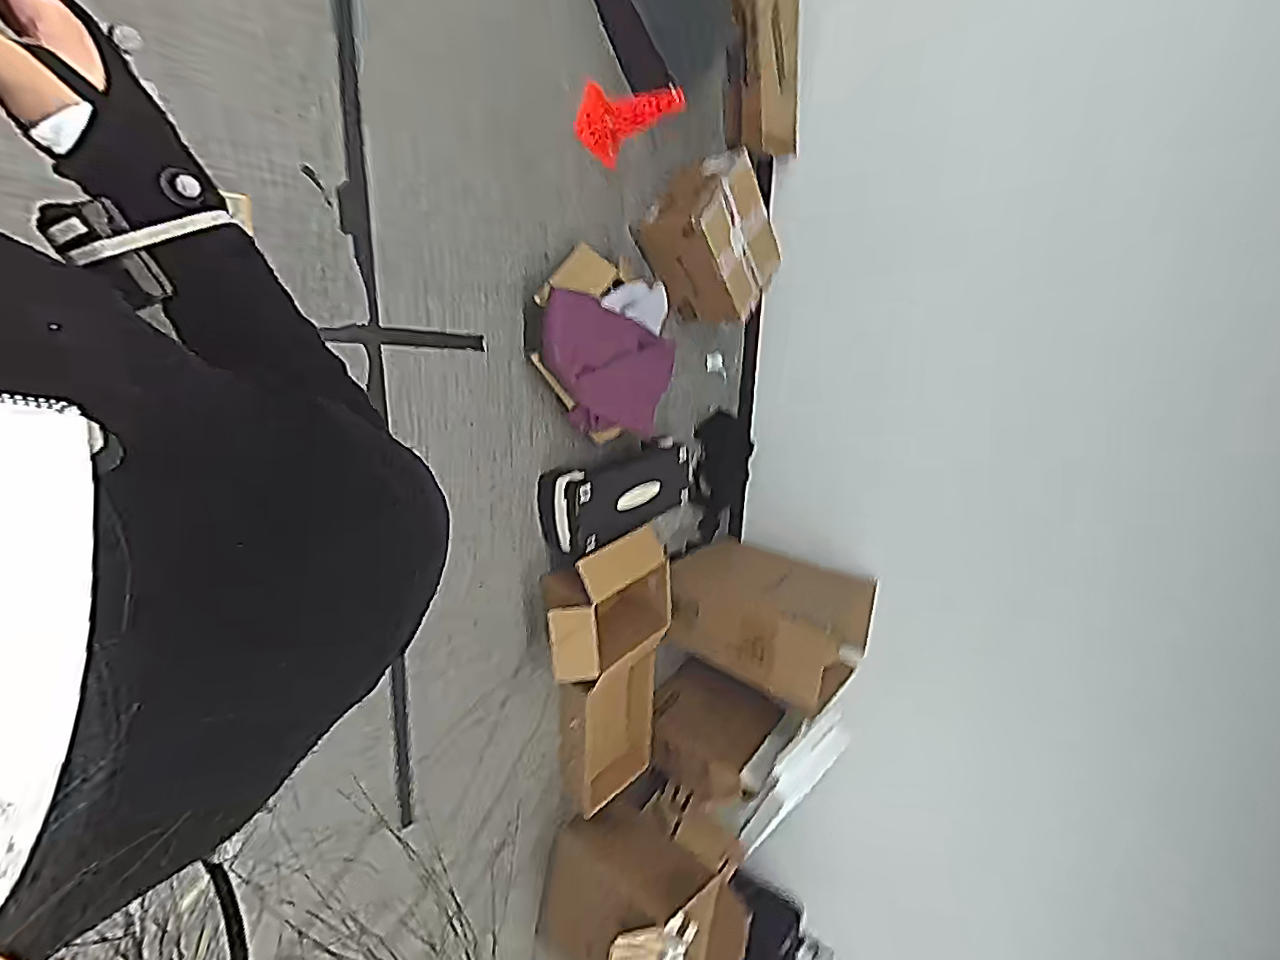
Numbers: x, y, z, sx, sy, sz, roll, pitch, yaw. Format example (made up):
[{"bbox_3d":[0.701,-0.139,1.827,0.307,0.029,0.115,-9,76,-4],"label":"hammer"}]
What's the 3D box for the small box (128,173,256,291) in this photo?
[{"bbox_3d":[-0.888,-0.478,1.075,0.168,0.176,0.179,-11,108,-48],"label":"small box"}]
